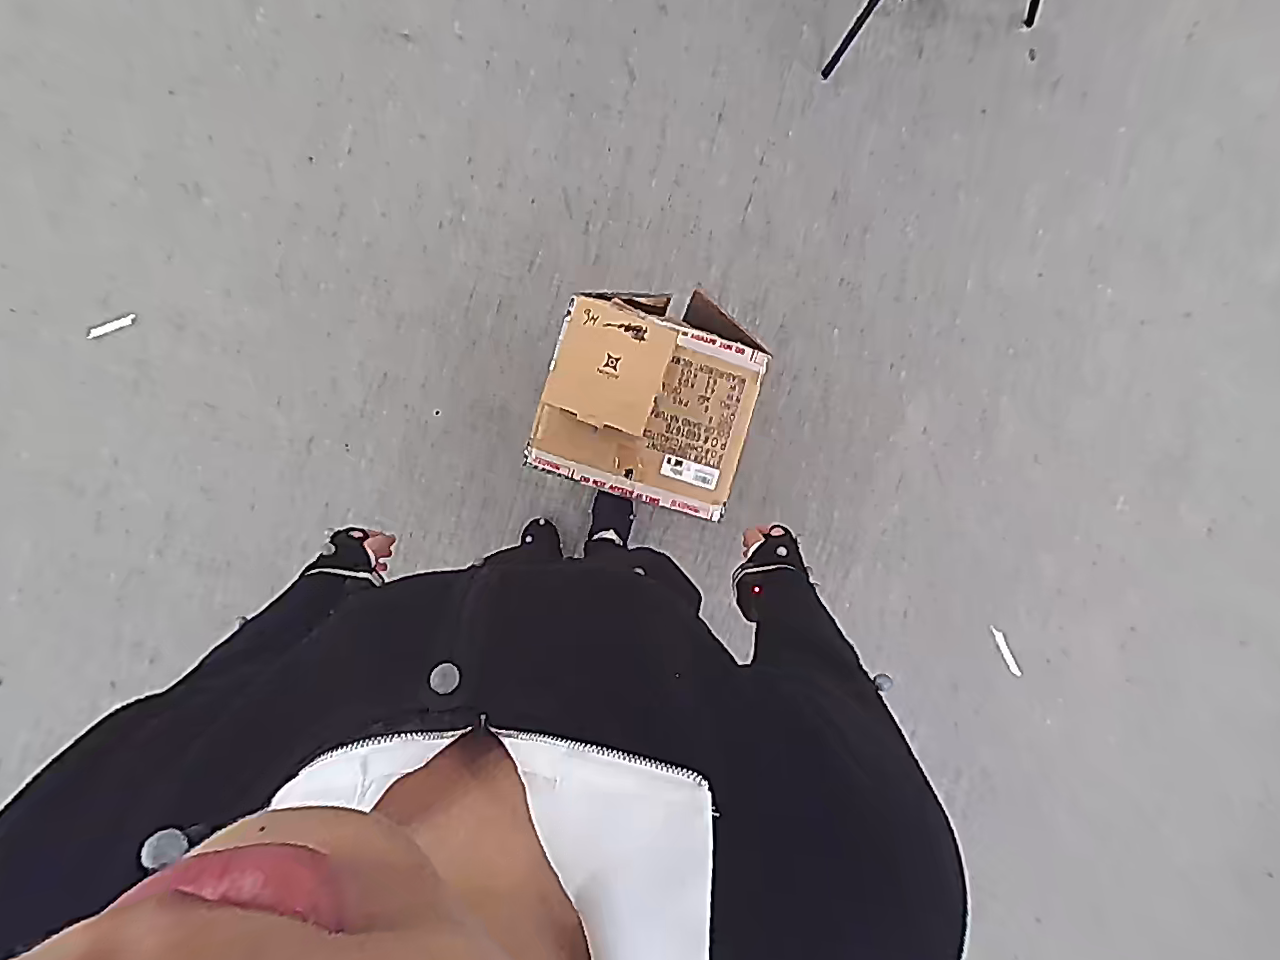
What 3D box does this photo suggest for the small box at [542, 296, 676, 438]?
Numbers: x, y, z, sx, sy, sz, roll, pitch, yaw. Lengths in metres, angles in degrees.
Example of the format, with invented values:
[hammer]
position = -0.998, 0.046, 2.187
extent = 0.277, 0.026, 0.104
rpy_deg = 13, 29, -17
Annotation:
[small box]
position = -0.045, -0.178, 0.907
extent = 0.168, 0.176, 0.179
rpy_deg = 20, 94, 0
